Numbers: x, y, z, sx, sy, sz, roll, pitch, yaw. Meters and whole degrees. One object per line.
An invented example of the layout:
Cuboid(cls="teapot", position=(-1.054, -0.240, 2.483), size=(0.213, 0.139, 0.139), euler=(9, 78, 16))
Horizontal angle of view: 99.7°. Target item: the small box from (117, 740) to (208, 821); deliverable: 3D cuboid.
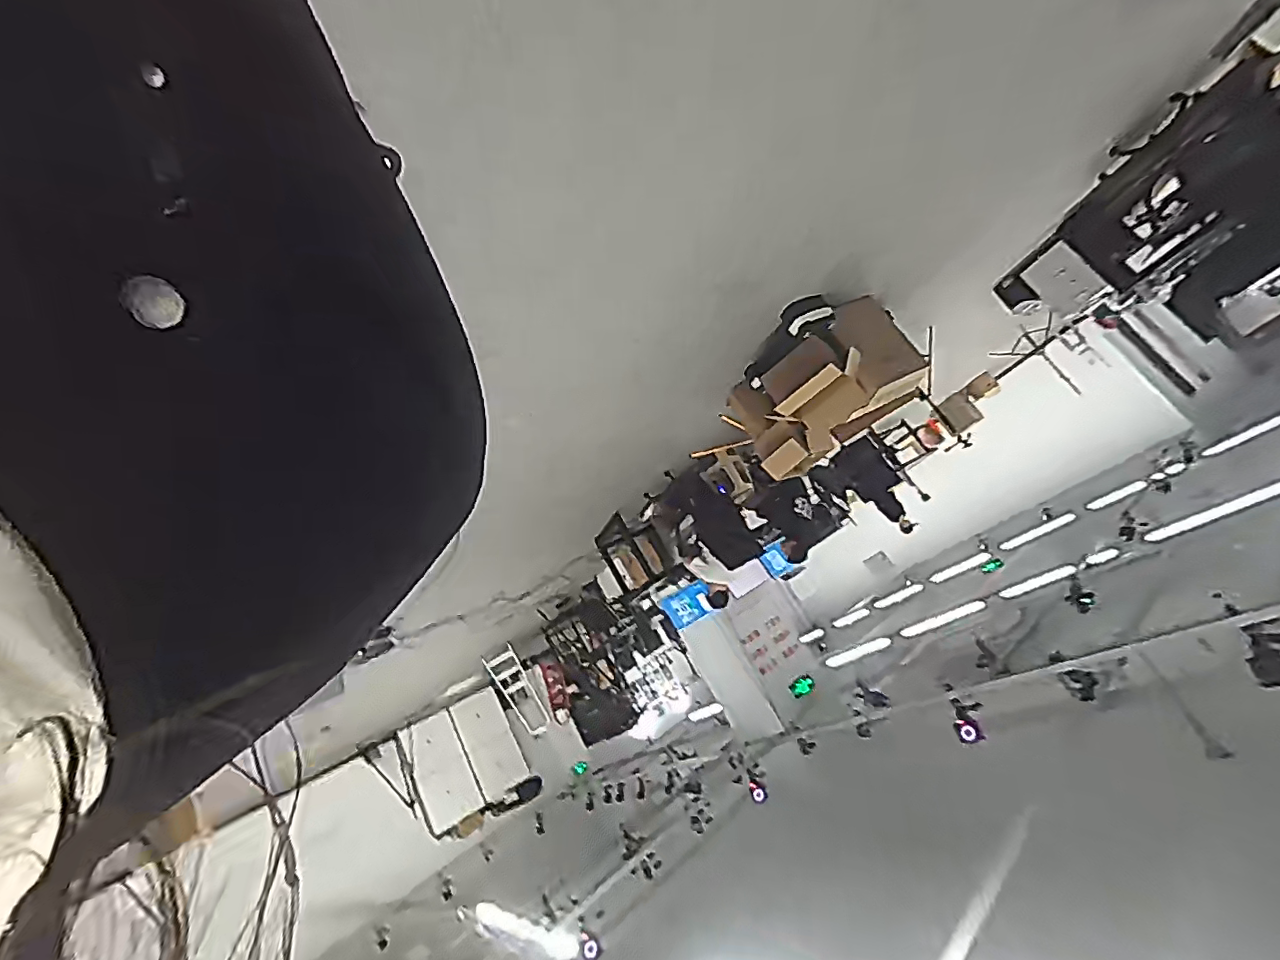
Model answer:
Cuboid(cls="small box", position=(-1.547, 0.975, 1.757), size=(0.179, 0.176, 0.168), euler=(-18, 157, -35))

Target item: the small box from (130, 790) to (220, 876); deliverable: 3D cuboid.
Cuboid(cls="small box", position=(-1.463, 1.106, 1.704), size=(0.168, 0.176, 0.179), euler=(-19, 158, -35))
